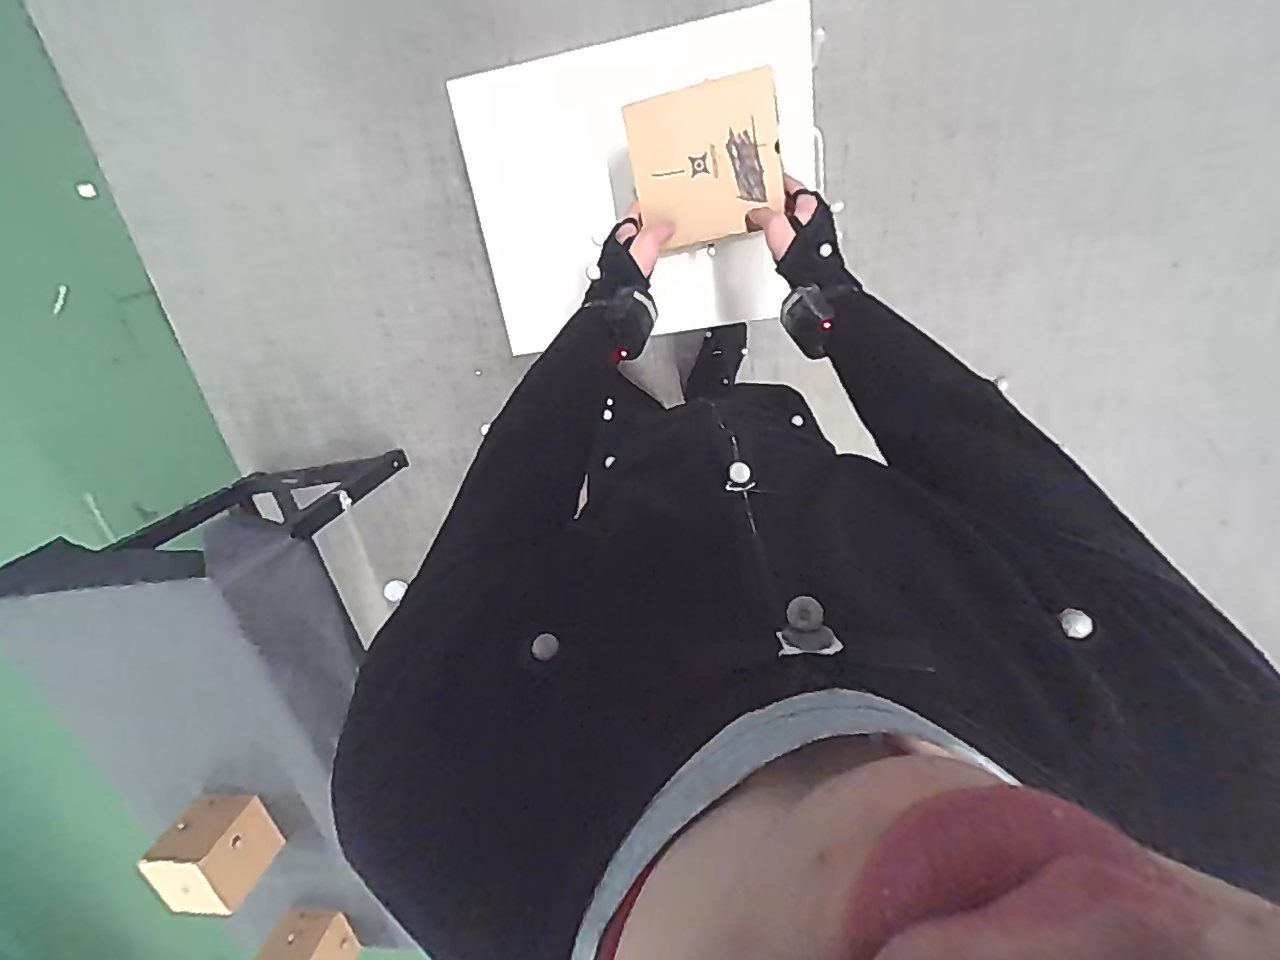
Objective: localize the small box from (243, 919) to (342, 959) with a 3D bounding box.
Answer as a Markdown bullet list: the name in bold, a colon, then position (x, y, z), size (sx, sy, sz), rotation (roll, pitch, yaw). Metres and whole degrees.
- **small box**: position (-0.901, 1.257, 1.372), size (0.168, 0.176, 0.179), rotation (-6, 111, 9)

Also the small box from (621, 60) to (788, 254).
- **small box**: position (0.083, -0.394, 0.693), size (0.179, 0.176, 0.168), rotation (-8, 109, 10)

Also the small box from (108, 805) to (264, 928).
- **small box**: position (-1.005, 0.860, 1.215), size (0.168, 0.176, 0.179), rotation (-6, 114, 10)
